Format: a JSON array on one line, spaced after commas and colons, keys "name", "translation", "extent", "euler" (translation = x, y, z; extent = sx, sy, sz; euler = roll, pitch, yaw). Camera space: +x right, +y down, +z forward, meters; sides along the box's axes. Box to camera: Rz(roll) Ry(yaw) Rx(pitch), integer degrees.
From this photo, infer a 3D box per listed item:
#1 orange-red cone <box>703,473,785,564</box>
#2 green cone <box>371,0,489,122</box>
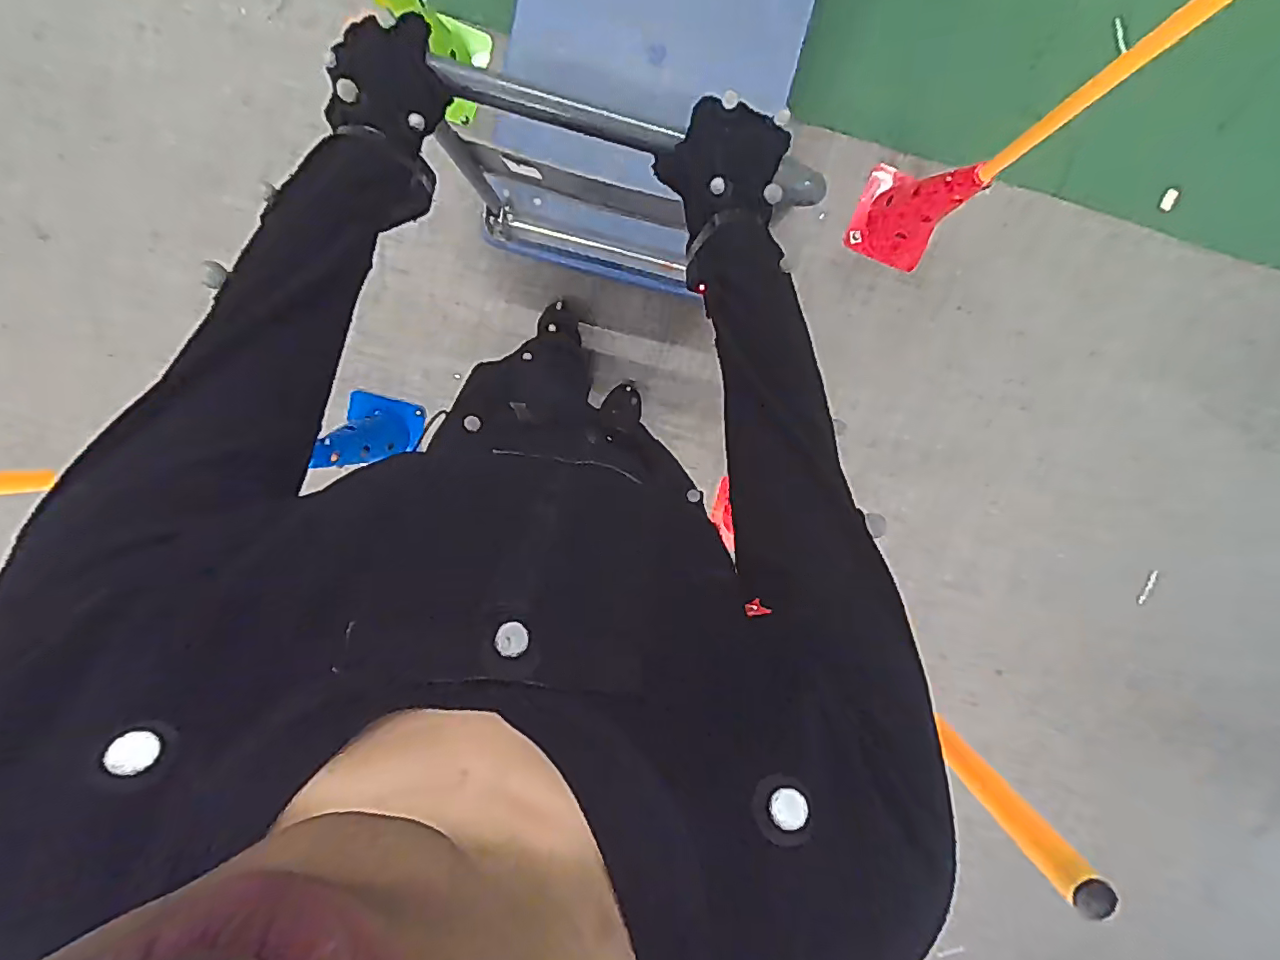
[{"name": "orange-red cone", "translation": [0.289, 0.129, 1.343], "extent": [0.199, 0.360, 0.198], "euler": [14, 102, -2]}, {"name": "green cone", "translation": [-0.463, -0.923, 1.078], "extent": [0.202, 0.368, 0.200], "euler": [19, 102, -4]}]
